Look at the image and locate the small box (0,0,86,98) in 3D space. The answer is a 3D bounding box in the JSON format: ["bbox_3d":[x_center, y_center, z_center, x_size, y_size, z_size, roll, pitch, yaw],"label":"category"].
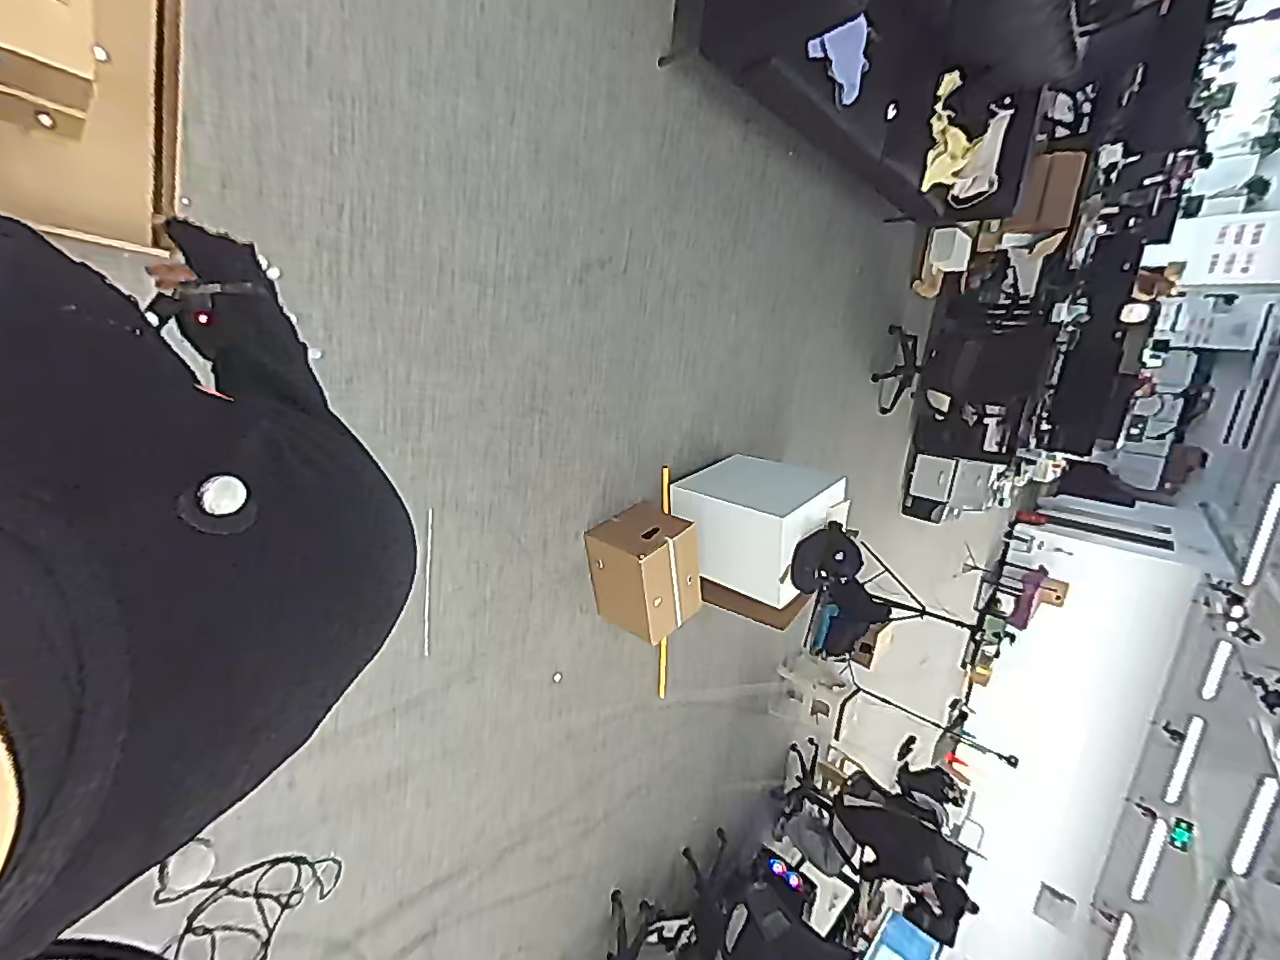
[{"bbox_3d":[-0.849,-0.635,0.699,0.179,0.176,0.168,-3,103,-49],"label":"small box"}]
